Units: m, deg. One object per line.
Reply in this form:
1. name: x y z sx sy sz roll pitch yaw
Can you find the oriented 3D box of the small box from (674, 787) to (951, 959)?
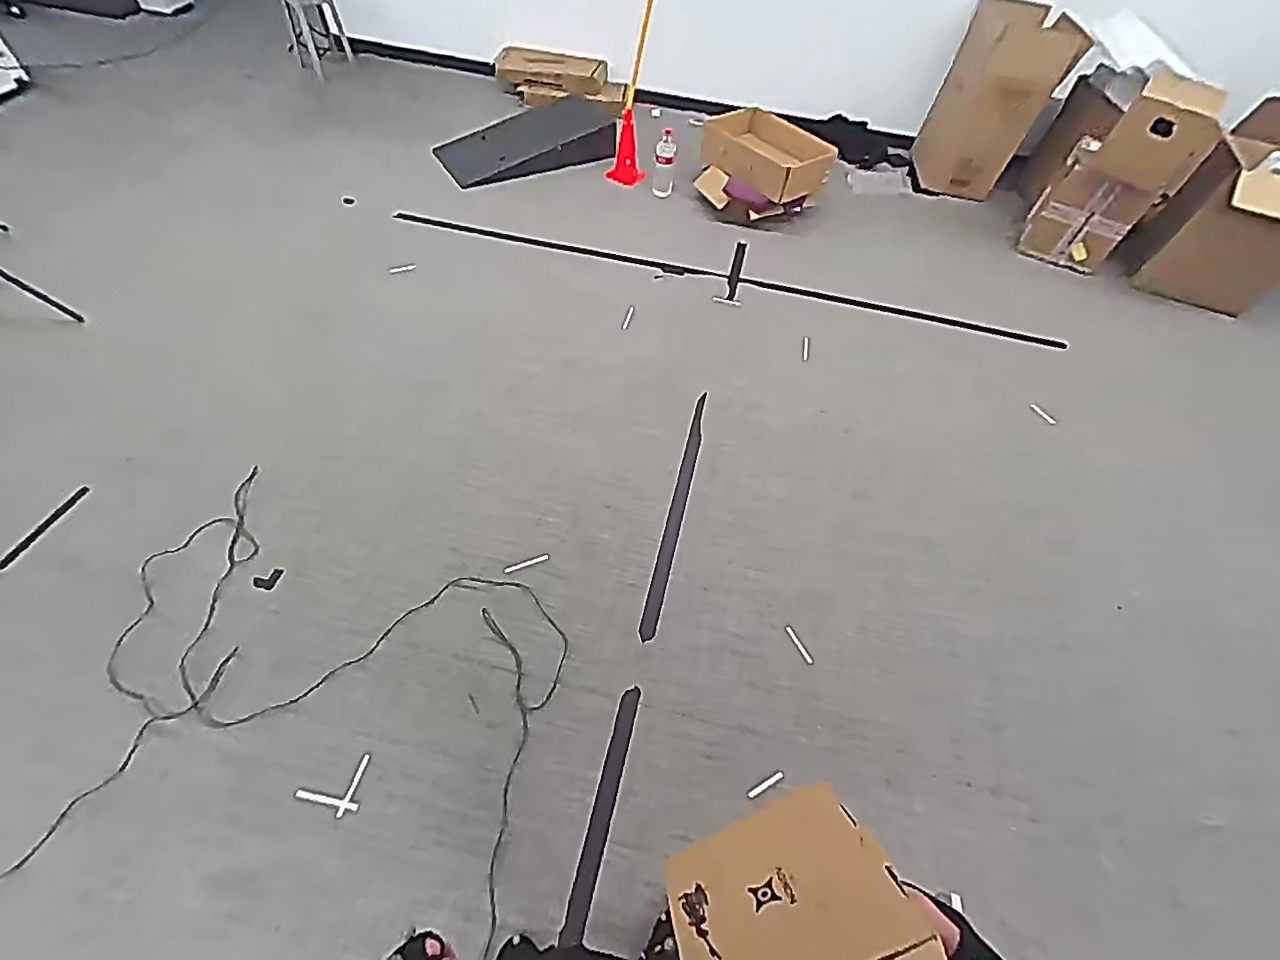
1. small box: 0.149 0.413 0.454 0.179 0.168 0.176 -22 95 -5
